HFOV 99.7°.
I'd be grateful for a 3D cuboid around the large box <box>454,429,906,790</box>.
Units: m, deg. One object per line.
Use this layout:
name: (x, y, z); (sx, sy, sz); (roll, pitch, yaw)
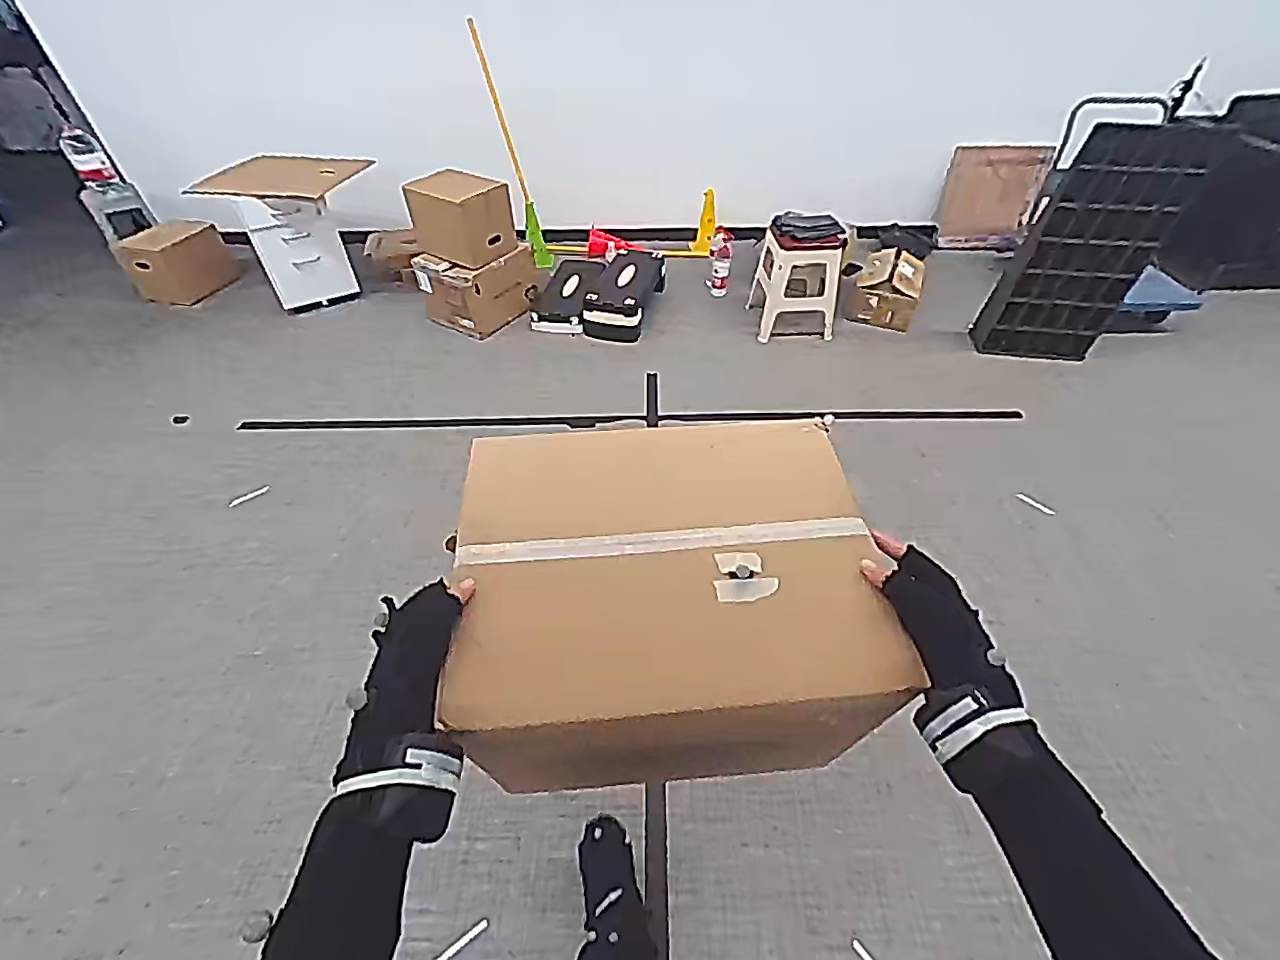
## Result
large box: (0.023, 0.163, 0.668); (0.408, 0.320, 0.320); (-4, 53, -4)
